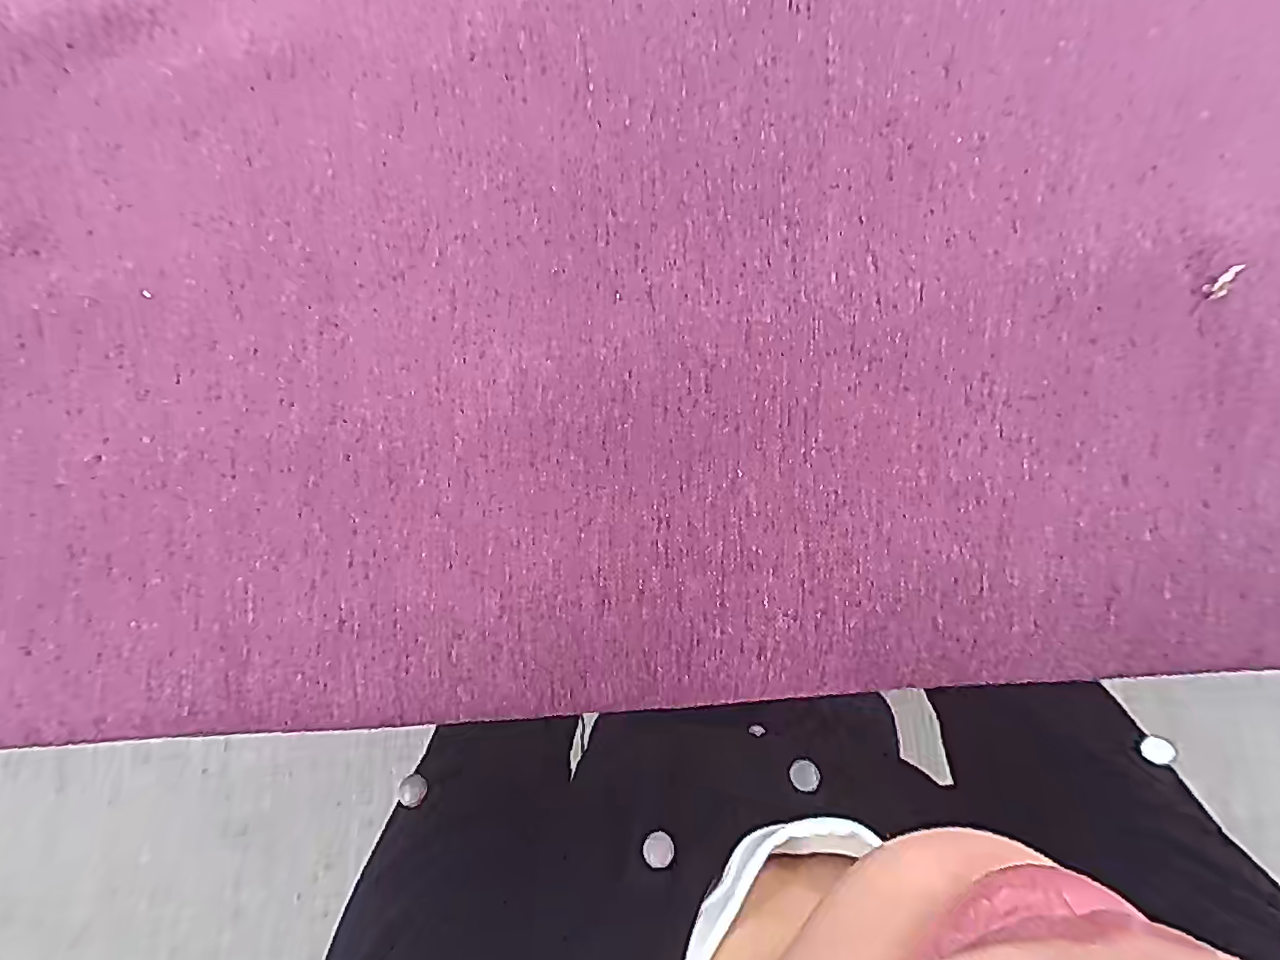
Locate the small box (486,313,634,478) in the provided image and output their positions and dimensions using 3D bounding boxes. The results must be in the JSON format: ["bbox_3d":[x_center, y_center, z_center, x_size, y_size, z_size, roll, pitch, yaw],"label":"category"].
[{"bbox_3d":[-0.100,-0.104,0.735,0.168,0.176,0.179,-6,84,2],"label":"small box"}]
